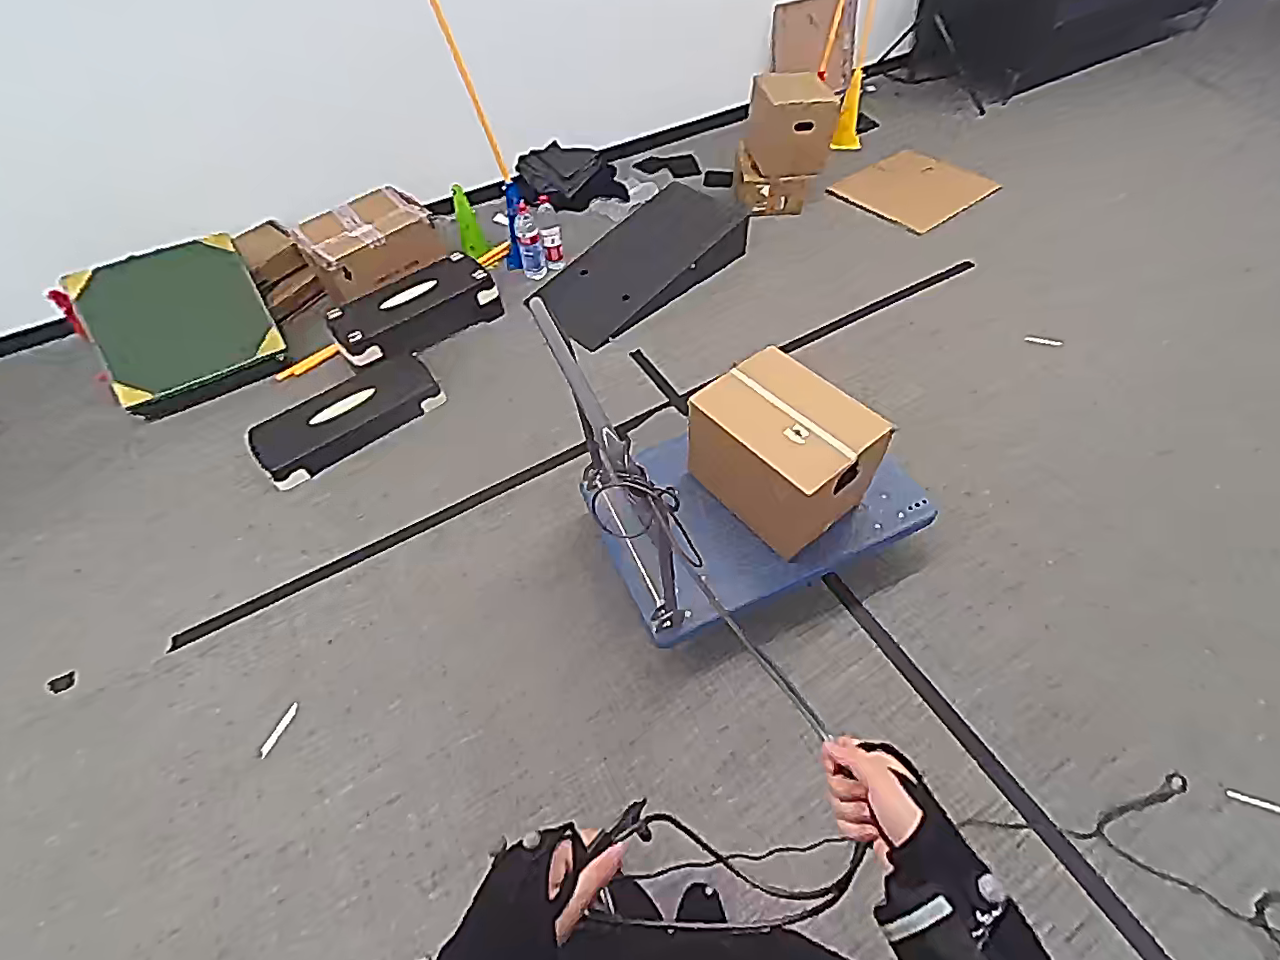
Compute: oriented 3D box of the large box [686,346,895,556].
[{"bbox_3d":[0.369,-0.080,1.444,0.320,0.320,0.408,-35,60,-19],"label":"large box"}]
